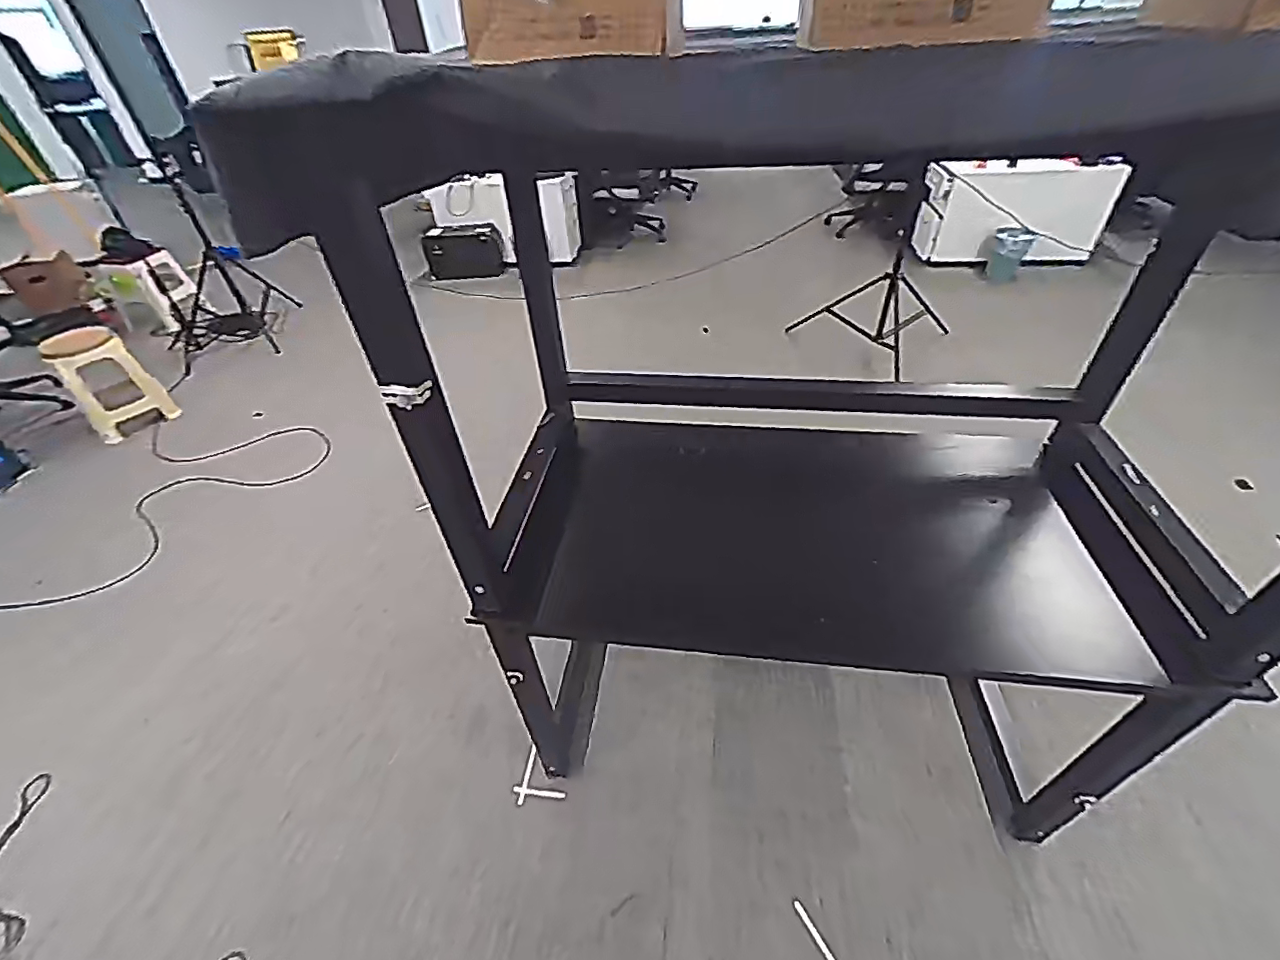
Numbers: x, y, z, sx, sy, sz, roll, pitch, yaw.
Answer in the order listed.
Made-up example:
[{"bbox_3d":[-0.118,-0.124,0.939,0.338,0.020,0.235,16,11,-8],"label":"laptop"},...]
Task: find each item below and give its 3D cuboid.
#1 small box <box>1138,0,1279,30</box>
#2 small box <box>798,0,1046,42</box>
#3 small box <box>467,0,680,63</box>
[{"bbox_3d":[0.515,-0.430,0.375,0.168,0.176,0.179,6,40,11],"label":"small box"},{"bbox_3d":[0.218,-0.445,0.412,0.168,0.176,0.179,4,39,9],"label":"small box"},{"bbox_3d":[-0.052,-0.458,0.449,0.168,0.176,0.179,4,40,7],"label":"small box"}]
